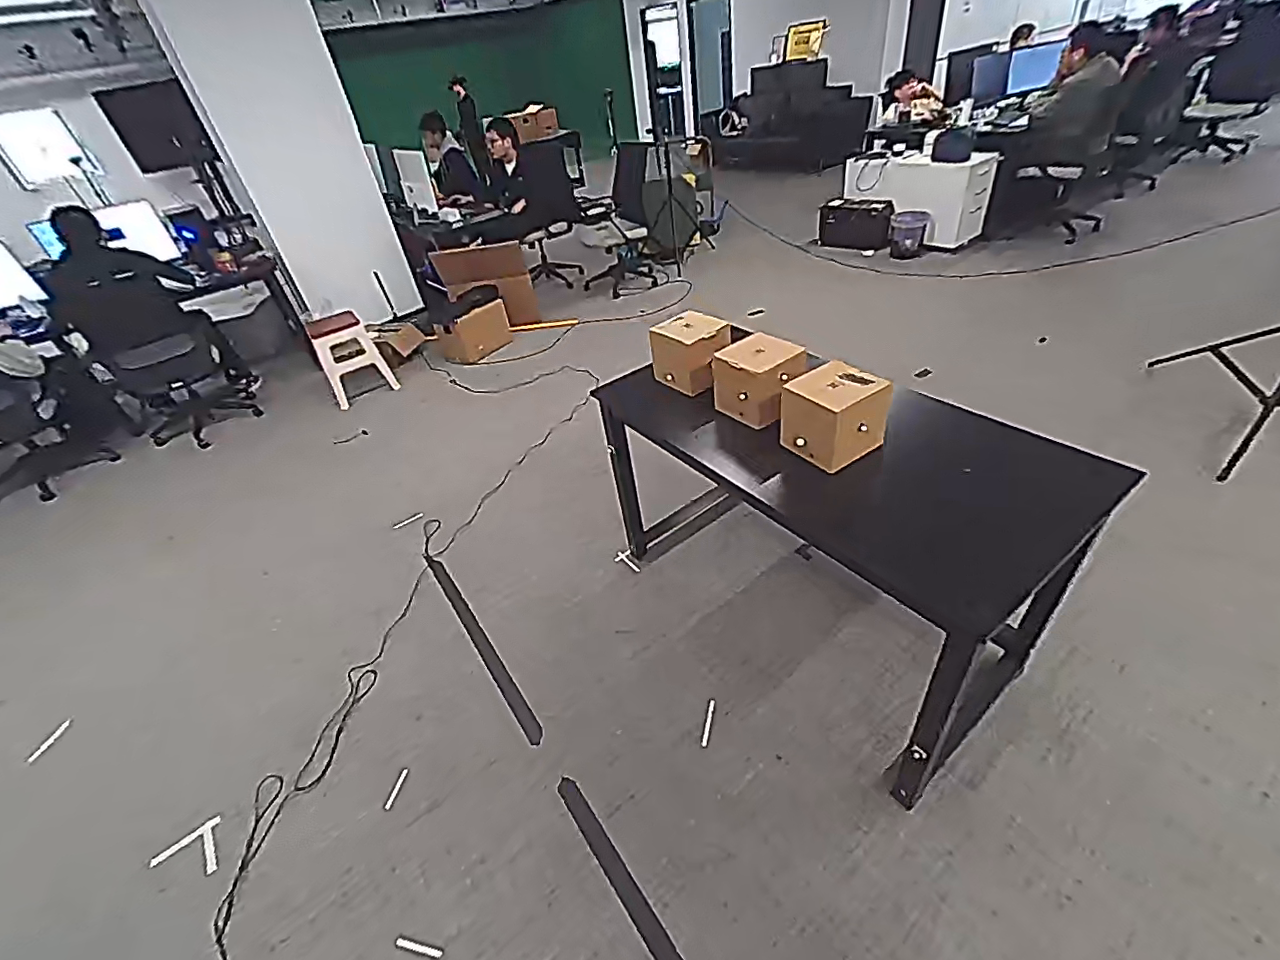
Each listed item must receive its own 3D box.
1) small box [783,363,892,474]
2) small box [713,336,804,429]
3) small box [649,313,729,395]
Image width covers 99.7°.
[{"bbox_3d":[0.450,-0.144,1.264,0.179,0.176,0.168,-27,41,-21],"label":"small box"},{"bbox_3d":[0.314,-0.258,1.439,0.179,0.176,0.168,-29,43,-25],"label":"small box"},{"bbox_3d":[0.151,-0.372,1.611,0.168,0.176,0.179,-30,44,-26],"label":"small box"}]
